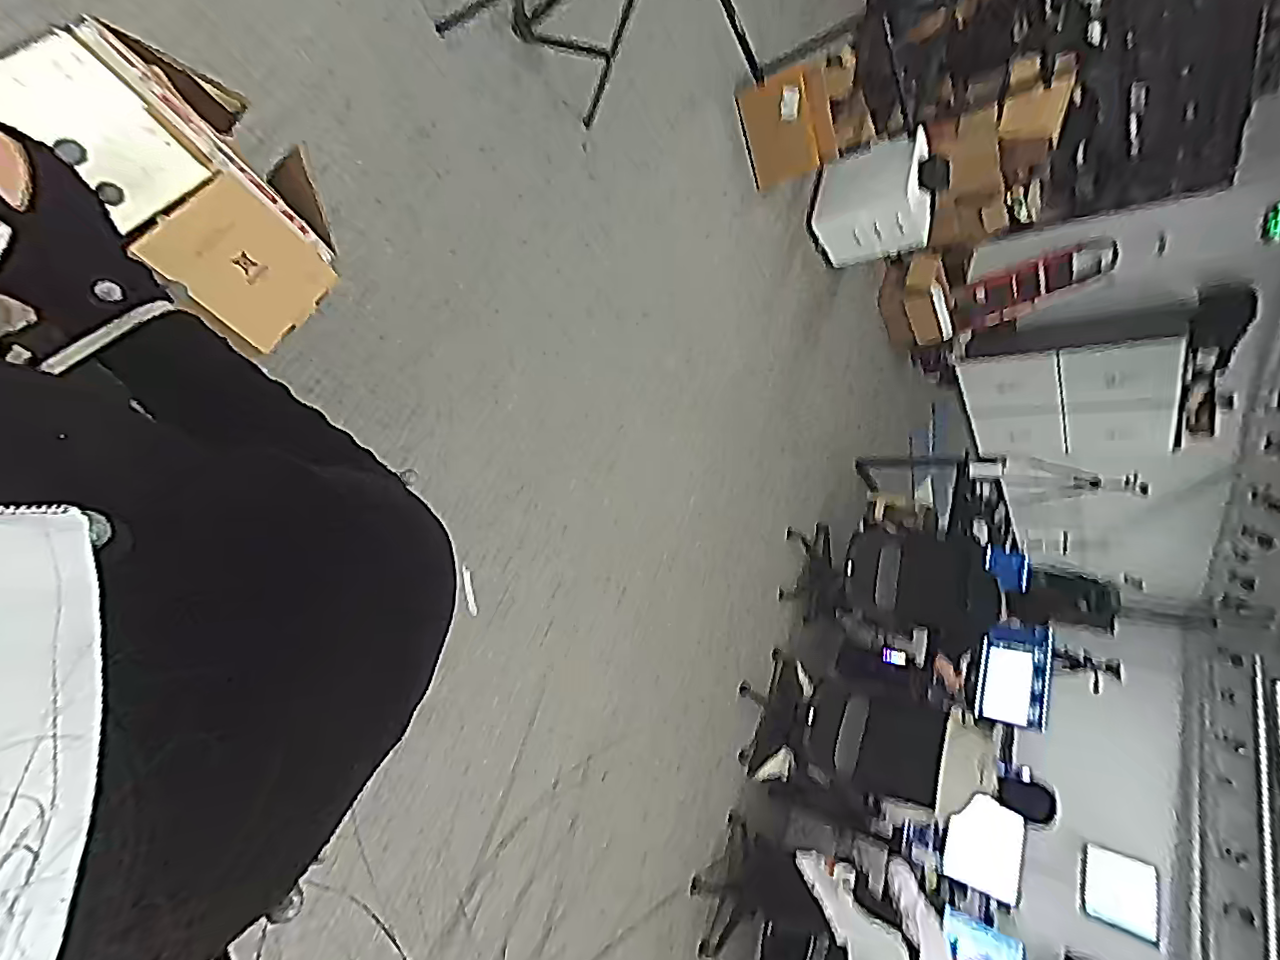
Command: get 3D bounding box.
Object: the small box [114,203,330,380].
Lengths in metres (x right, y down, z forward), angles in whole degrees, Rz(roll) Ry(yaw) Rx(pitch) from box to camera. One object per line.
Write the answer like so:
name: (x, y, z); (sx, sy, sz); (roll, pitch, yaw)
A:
small box: (-0.612, -0.264, 0.797); (0.179, 0.176, 0.168); (48, 58, -39)
